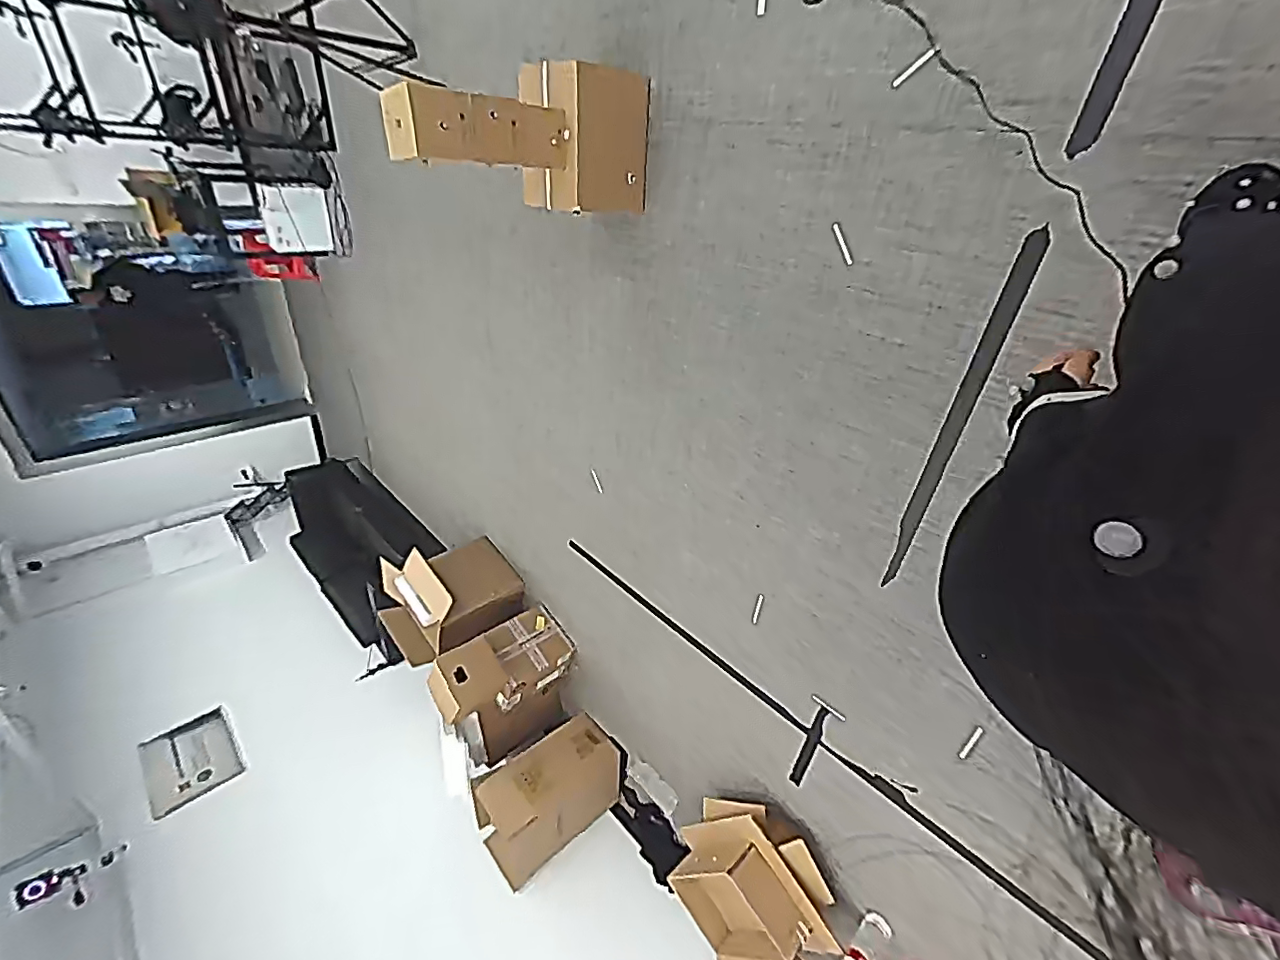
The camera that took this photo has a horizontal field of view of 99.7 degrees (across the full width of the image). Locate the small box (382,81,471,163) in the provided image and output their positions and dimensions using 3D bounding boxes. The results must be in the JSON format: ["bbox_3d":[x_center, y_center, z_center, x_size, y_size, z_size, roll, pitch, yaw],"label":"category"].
[{"bbox_3d":[-0.579,-0.977,1.490,0.179,0.176,0.168,23,123,40],"label":"small box"}]

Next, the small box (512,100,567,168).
[{"bbox_3d":[-0.347,-1.080,1.696,0.179,0.176,0.168,28,128,37],"label":"small box"}]

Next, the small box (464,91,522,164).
[{"bbox_3d":[-0.459,-1.031,1.589,0.179,0.176,0.168,28,127,39],"label":"small box"}]
